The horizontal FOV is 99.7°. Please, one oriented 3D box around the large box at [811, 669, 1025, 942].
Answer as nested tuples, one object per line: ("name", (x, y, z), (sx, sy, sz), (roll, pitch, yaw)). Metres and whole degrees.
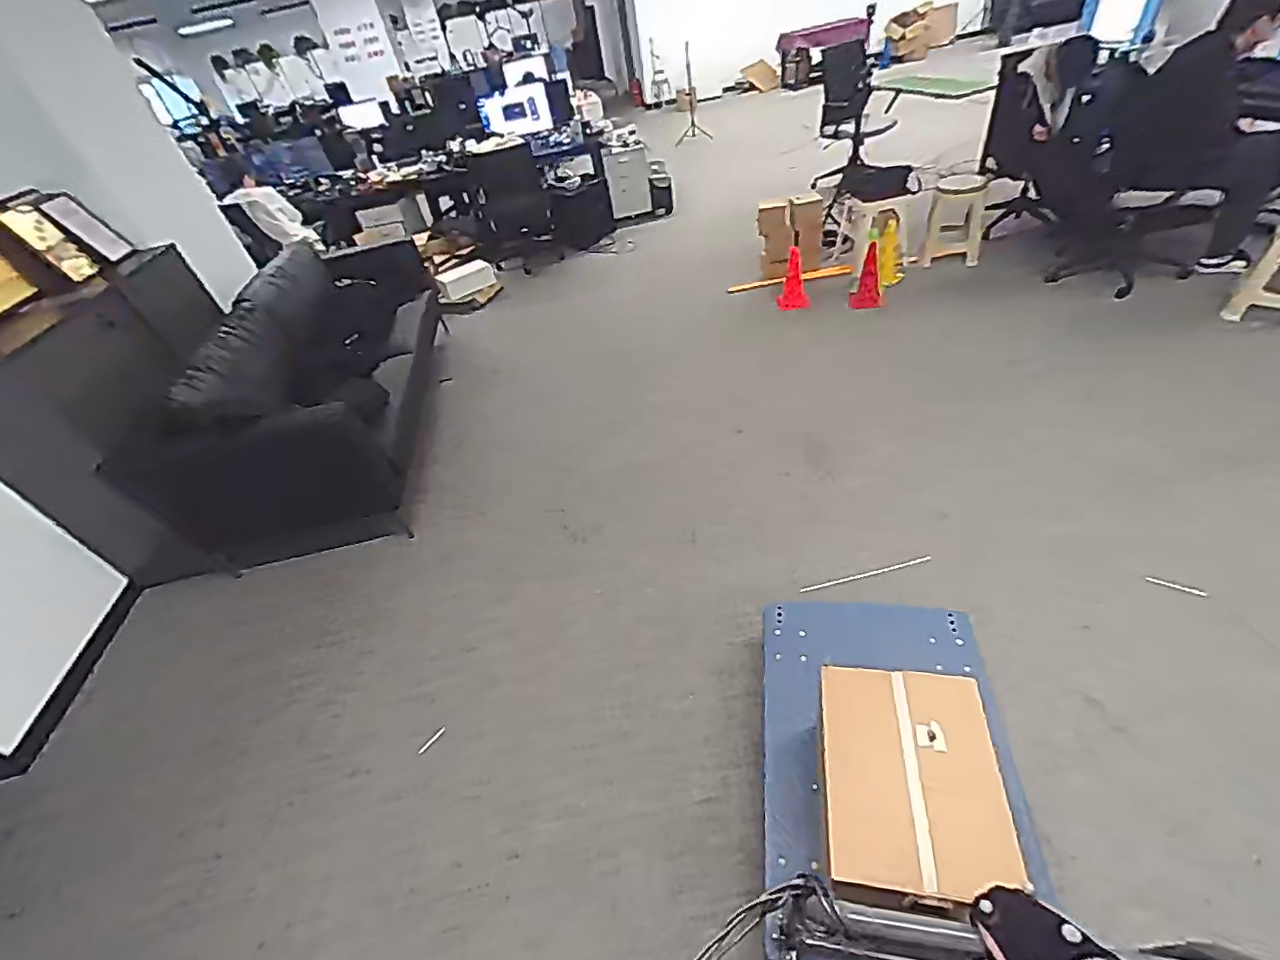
("large box", (0.536, 0.673, 1.145), (0.320, 0.320, 0.408), (1, 42, 14))
